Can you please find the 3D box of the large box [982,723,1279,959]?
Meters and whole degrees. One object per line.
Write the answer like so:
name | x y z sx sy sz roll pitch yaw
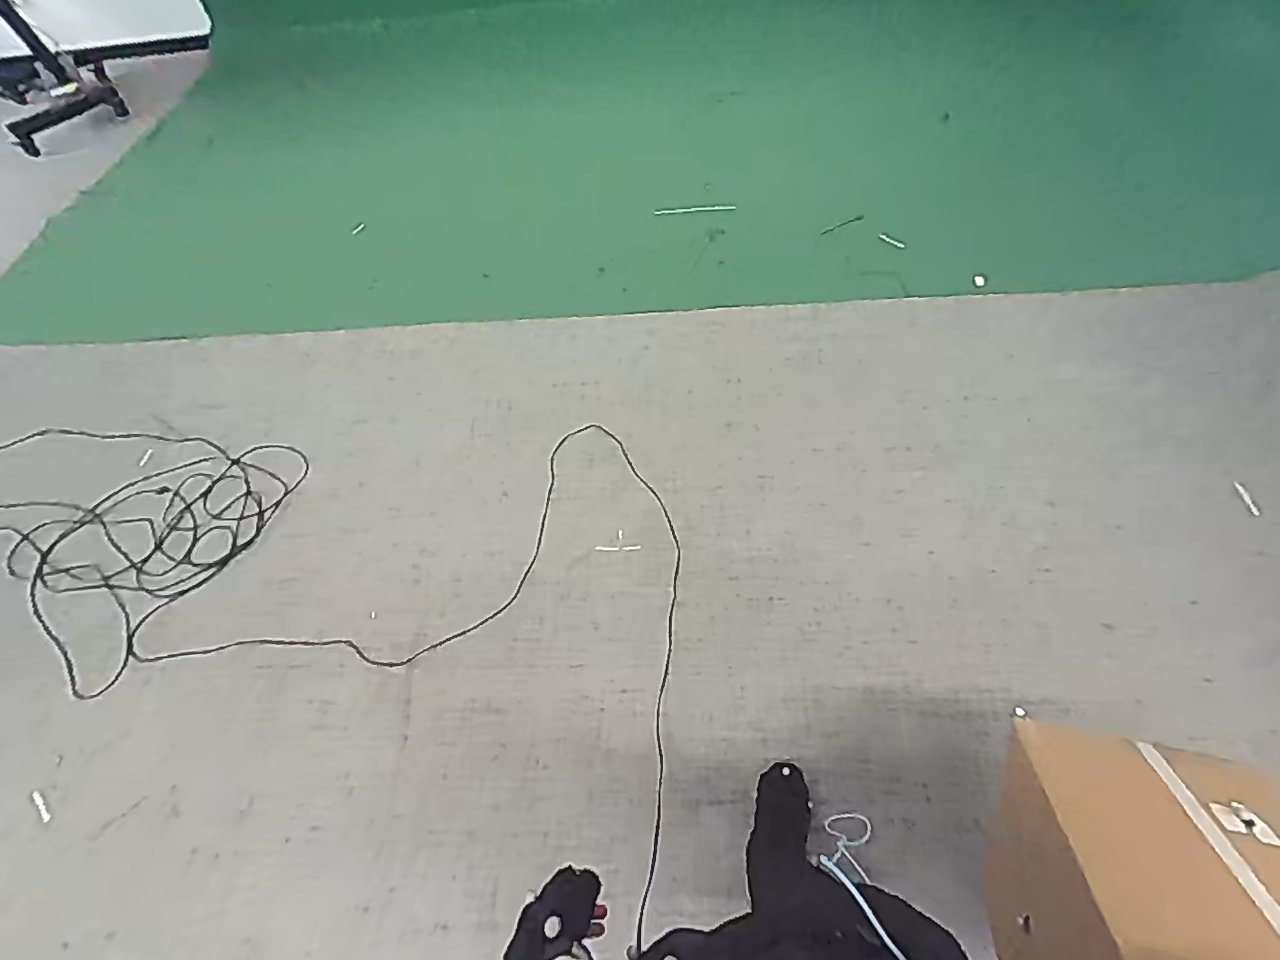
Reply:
large box | 0.636 0.569 0.627 0.320 0.408 0.320 7 103 19
